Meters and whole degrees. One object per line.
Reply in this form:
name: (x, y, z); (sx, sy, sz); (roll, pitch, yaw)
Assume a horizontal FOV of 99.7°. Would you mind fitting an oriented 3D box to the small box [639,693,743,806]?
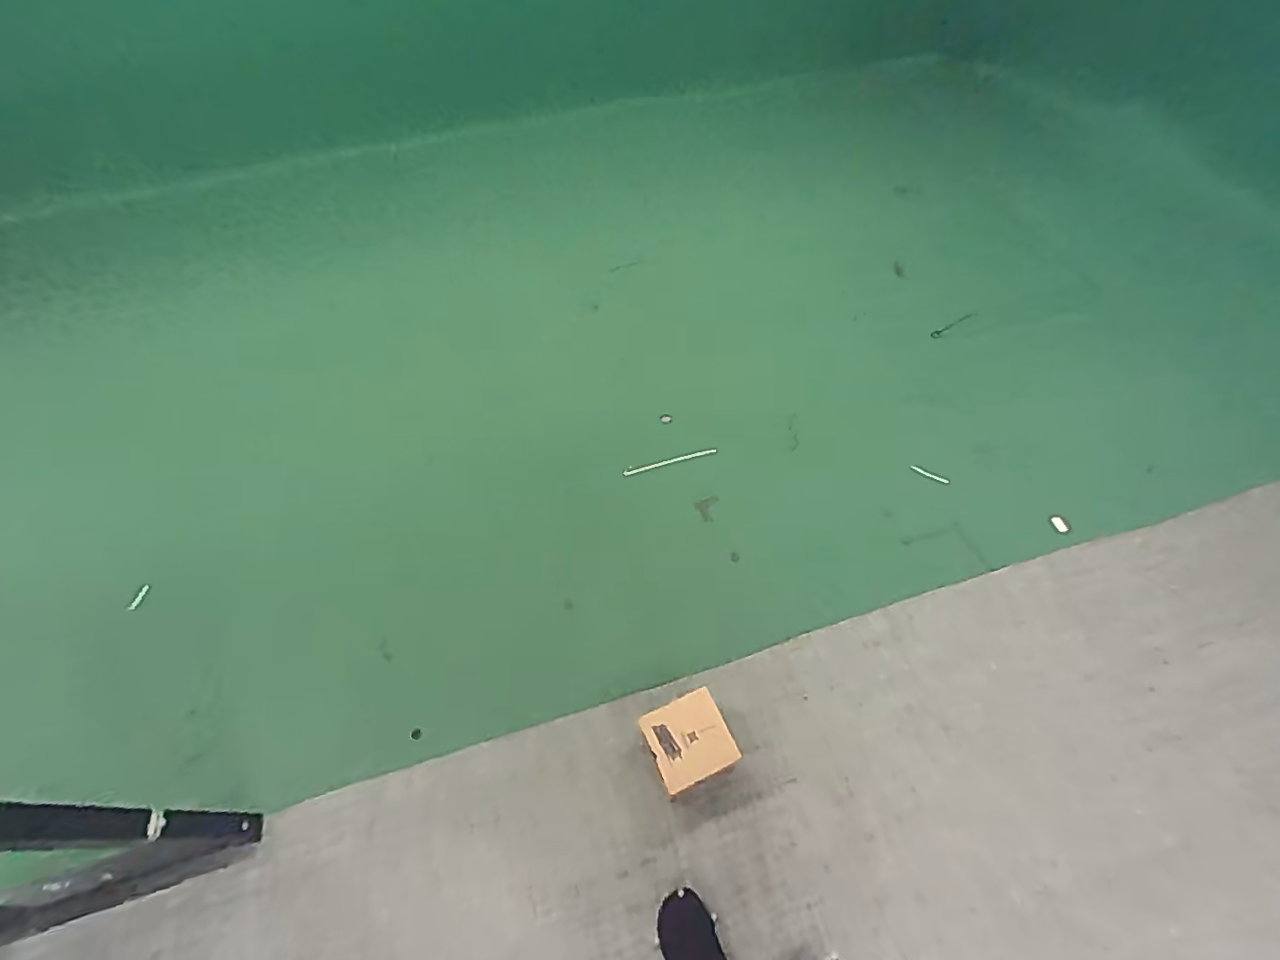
small box: (0.112, 0.614, 1.223); (0.179, 0.176, 0.168); (-21, 59, -12)
